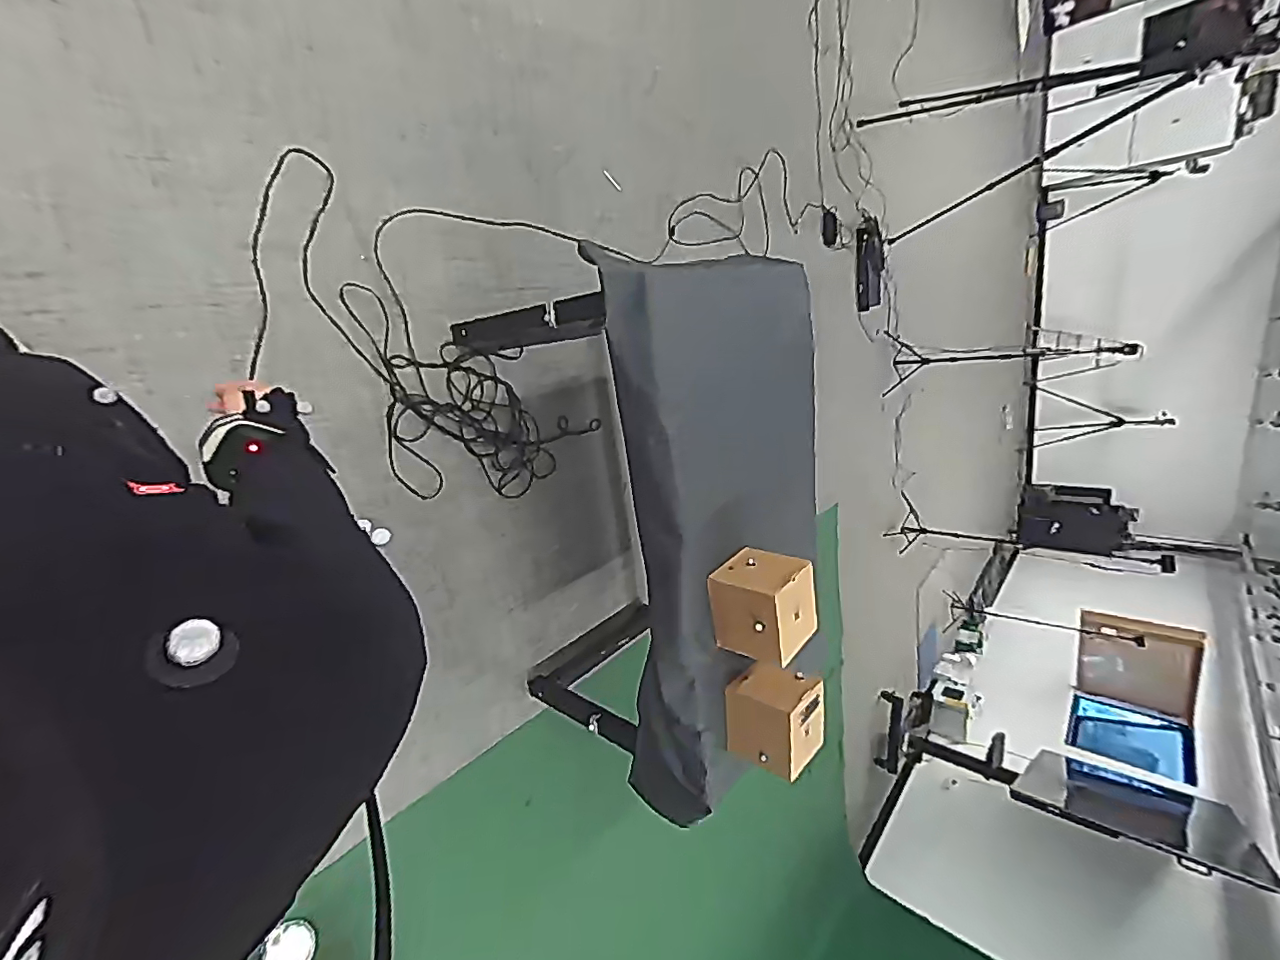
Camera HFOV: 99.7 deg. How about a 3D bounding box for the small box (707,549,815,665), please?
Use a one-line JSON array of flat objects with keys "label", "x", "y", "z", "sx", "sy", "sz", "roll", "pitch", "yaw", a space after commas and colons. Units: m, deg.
[{"label": "small box", "x": 0.268, "y": 0.271, "z": 1.197, "sx": 0.168, "sy": 0.176, "sz": 0.179, "roll": -27, "pitch": 113, "yaw": -43}]
